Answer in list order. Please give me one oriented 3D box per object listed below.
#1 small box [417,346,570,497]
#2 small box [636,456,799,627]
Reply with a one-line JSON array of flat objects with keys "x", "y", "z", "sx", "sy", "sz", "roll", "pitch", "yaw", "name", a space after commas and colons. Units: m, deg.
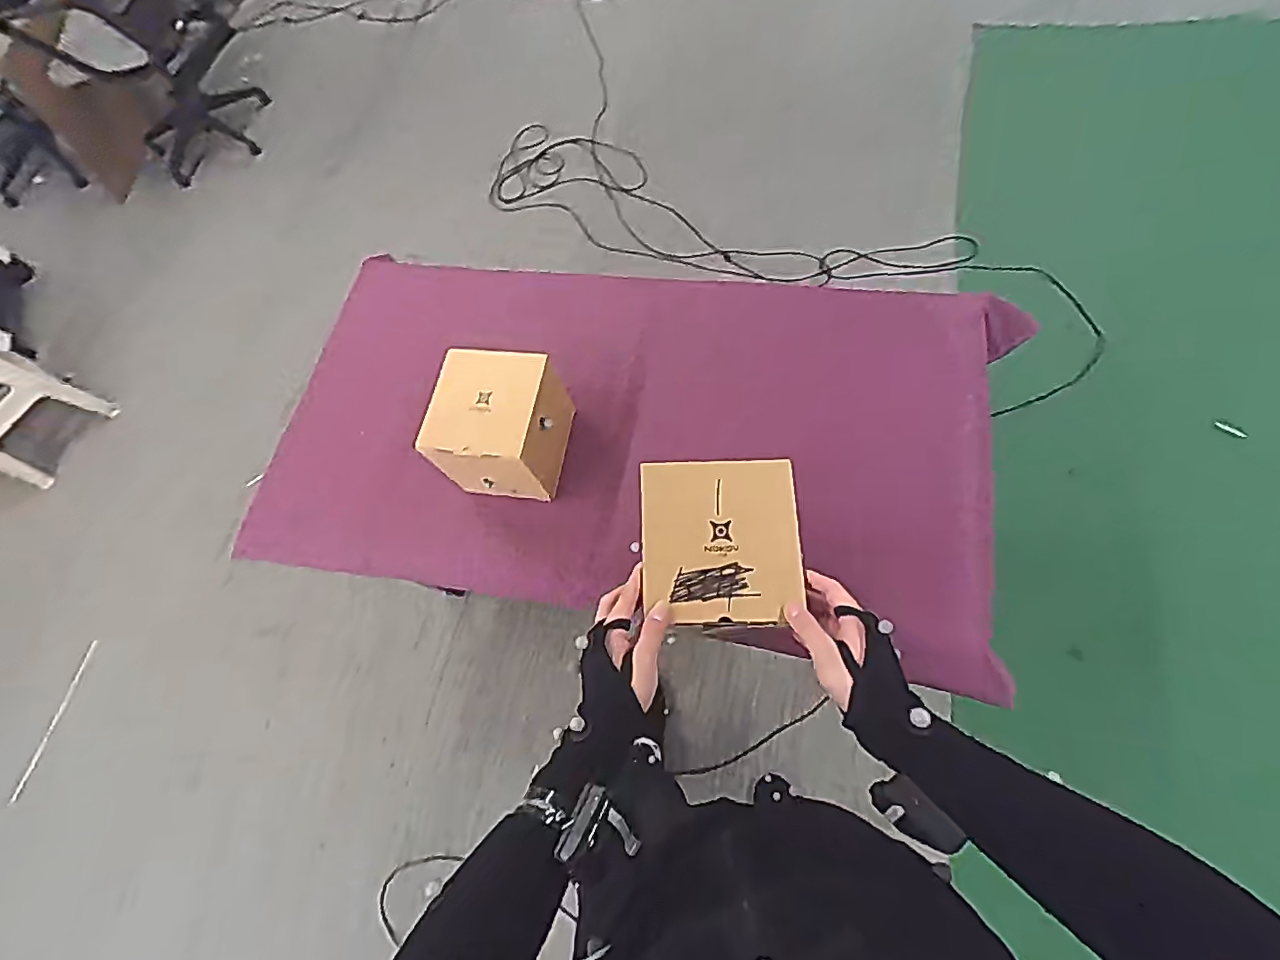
[{"x": -0.221, "y": -0.089, "z": 0.869, "sx": 0.168, "sy": 0.176, "sz": 0.179, "roll": 6, "pitch": 70, "yaw": 11, "name": "small box"}, {"x": 0.082, "y": 0.081, "z": 0.640, "sx": 0.168, "sy": 0.176, "sz": 0.179, "roll": 0, "pitch": 71, "yaw": 2, "name": "small box"}]
